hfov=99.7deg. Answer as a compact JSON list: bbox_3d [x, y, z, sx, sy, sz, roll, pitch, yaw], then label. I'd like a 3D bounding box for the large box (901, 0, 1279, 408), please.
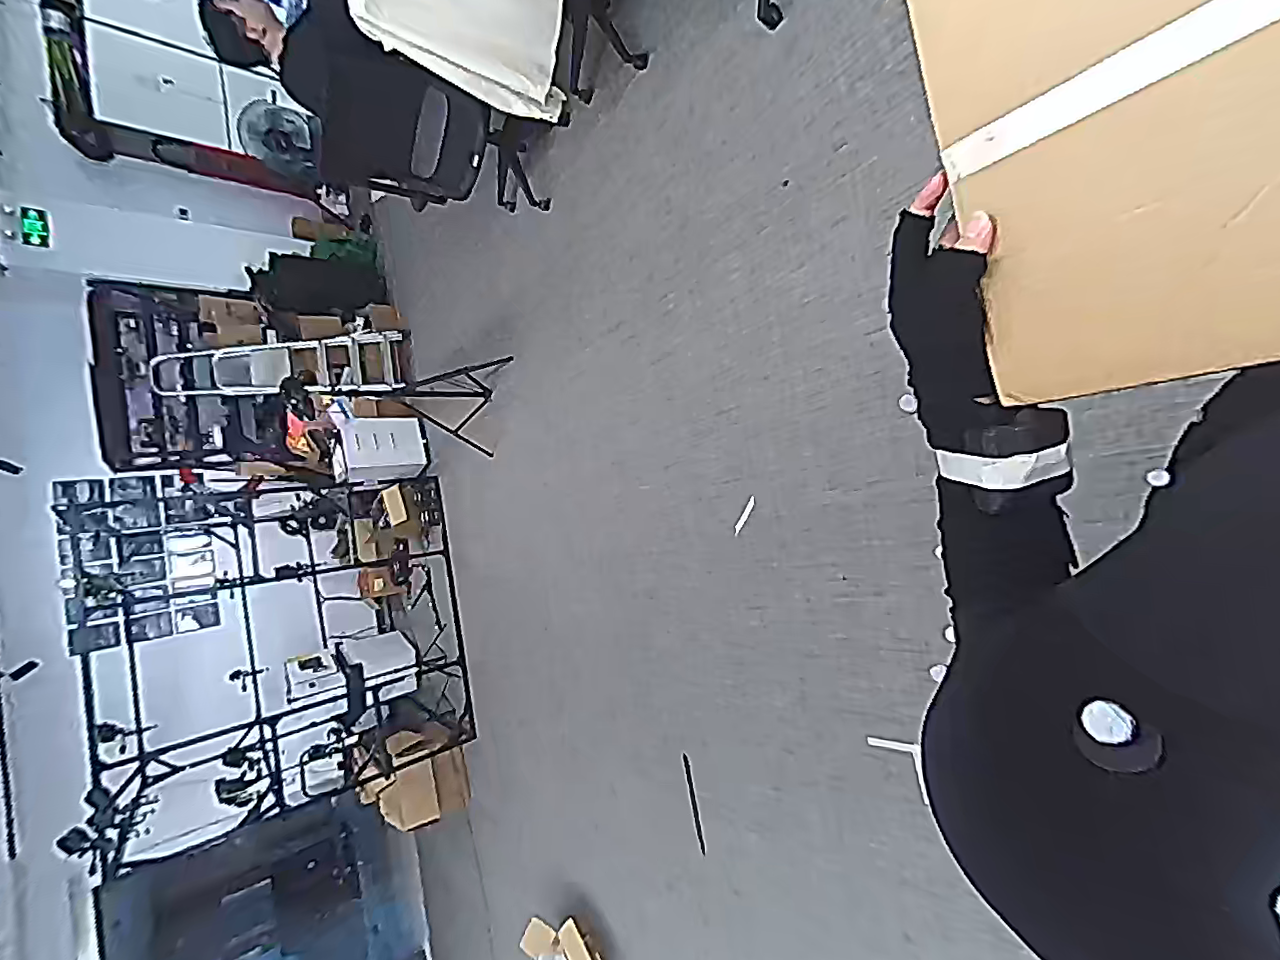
[{"bbox_3d":[0.429,-0.257,0.279,0.408,0.320,0.320,-10,98,53],"label":"large box"}]
